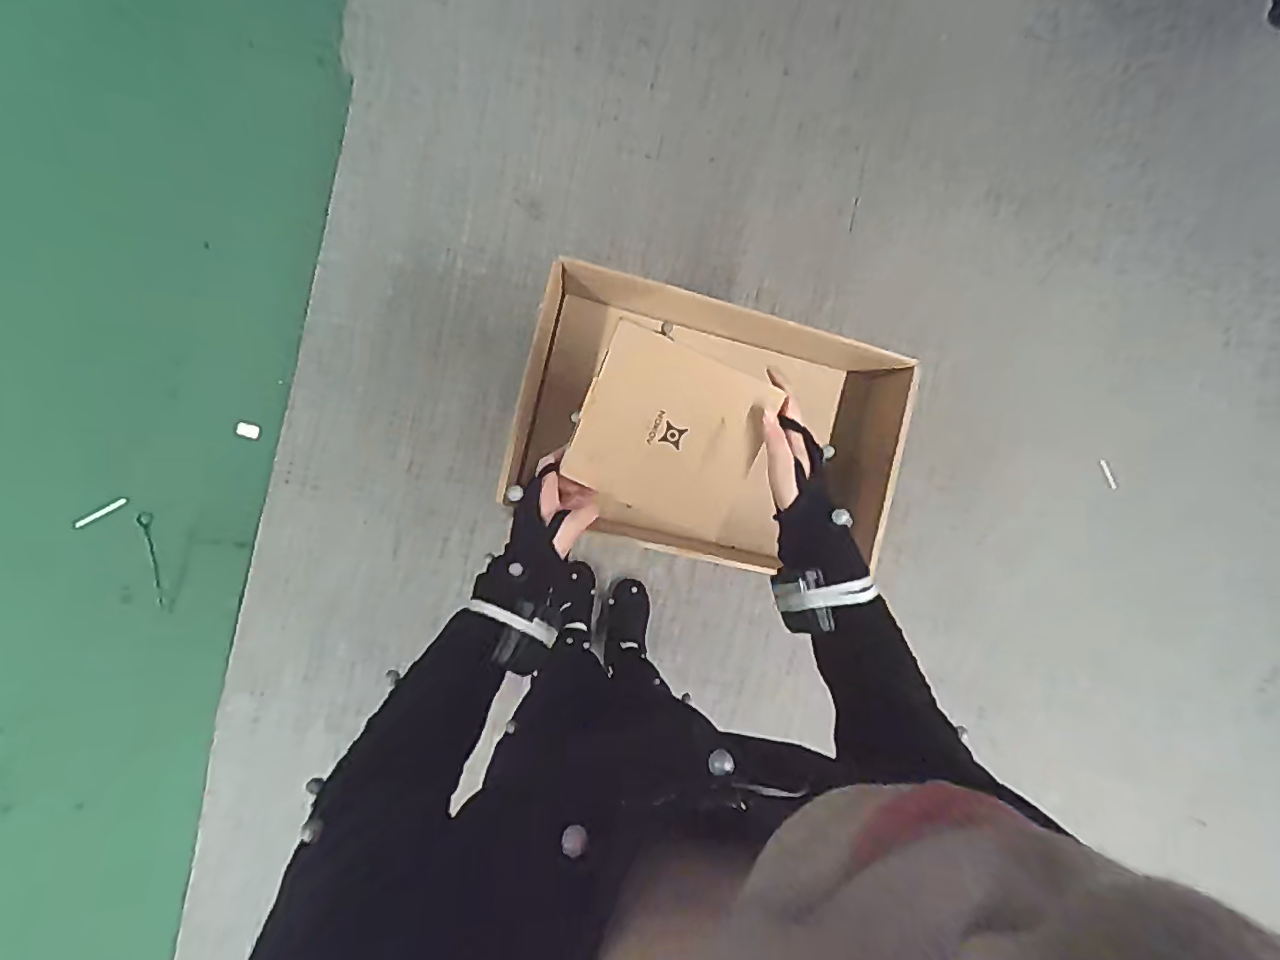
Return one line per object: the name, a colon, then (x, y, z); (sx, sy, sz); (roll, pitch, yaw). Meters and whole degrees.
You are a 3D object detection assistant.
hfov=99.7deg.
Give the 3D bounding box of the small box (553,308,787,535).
small box: (0.030, -0.068, 0.592); (0.179, 0.176, 0.168); (24, 104, -2)
